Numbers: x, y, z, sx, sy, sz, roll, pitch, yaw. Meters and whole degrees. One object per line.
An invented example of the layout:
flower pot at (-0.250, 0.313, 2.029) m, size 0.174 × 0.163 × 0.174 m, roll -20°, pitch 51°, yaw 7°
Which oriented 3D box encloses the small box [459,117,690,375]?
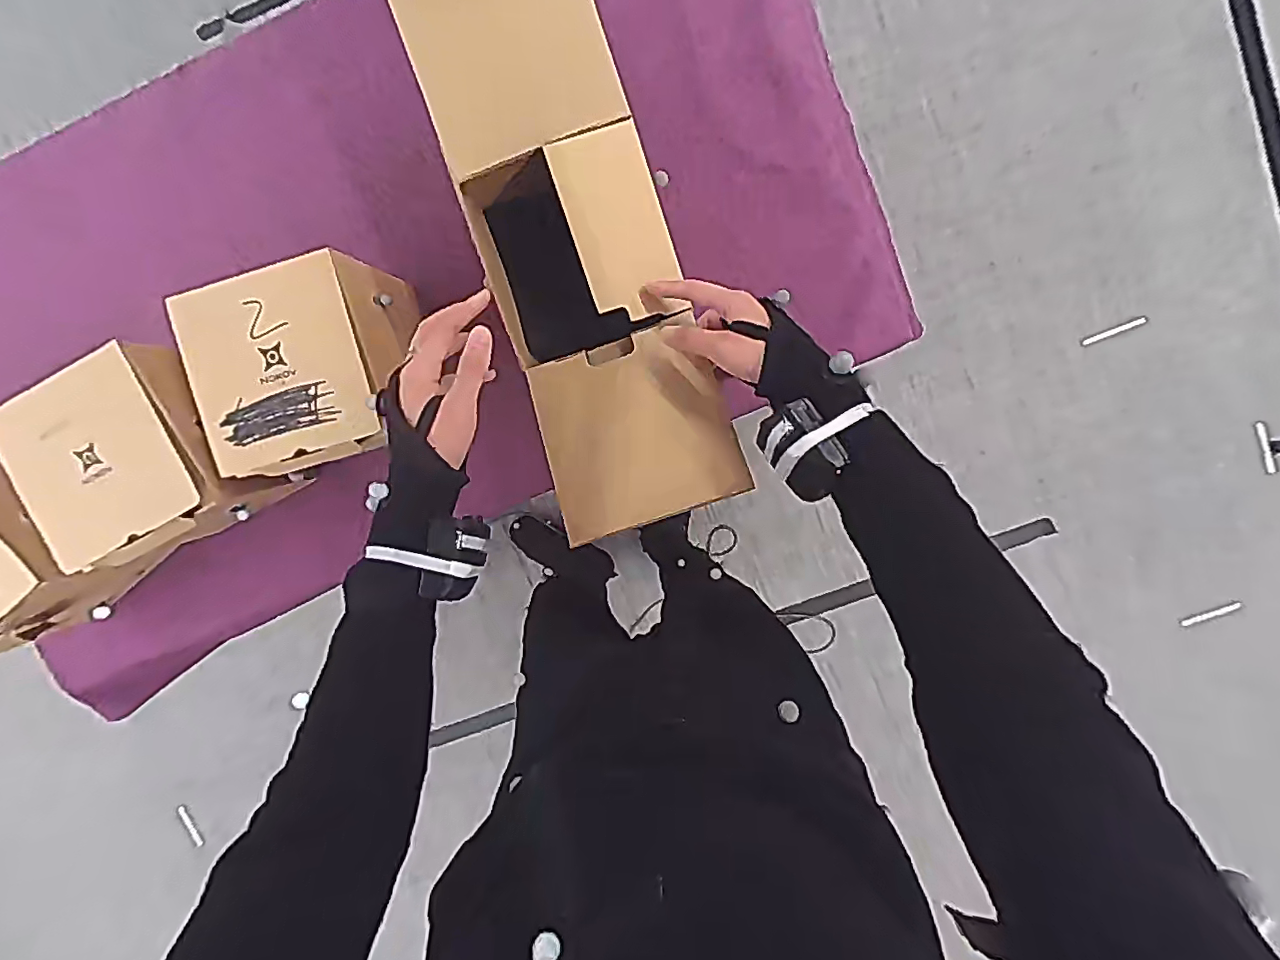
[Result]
small box at (-0.054, -0.217, 0.555) m, size 0.168 × 0.176 × 0.179 m, roll -17°, pitch 97°, yaw 6°
